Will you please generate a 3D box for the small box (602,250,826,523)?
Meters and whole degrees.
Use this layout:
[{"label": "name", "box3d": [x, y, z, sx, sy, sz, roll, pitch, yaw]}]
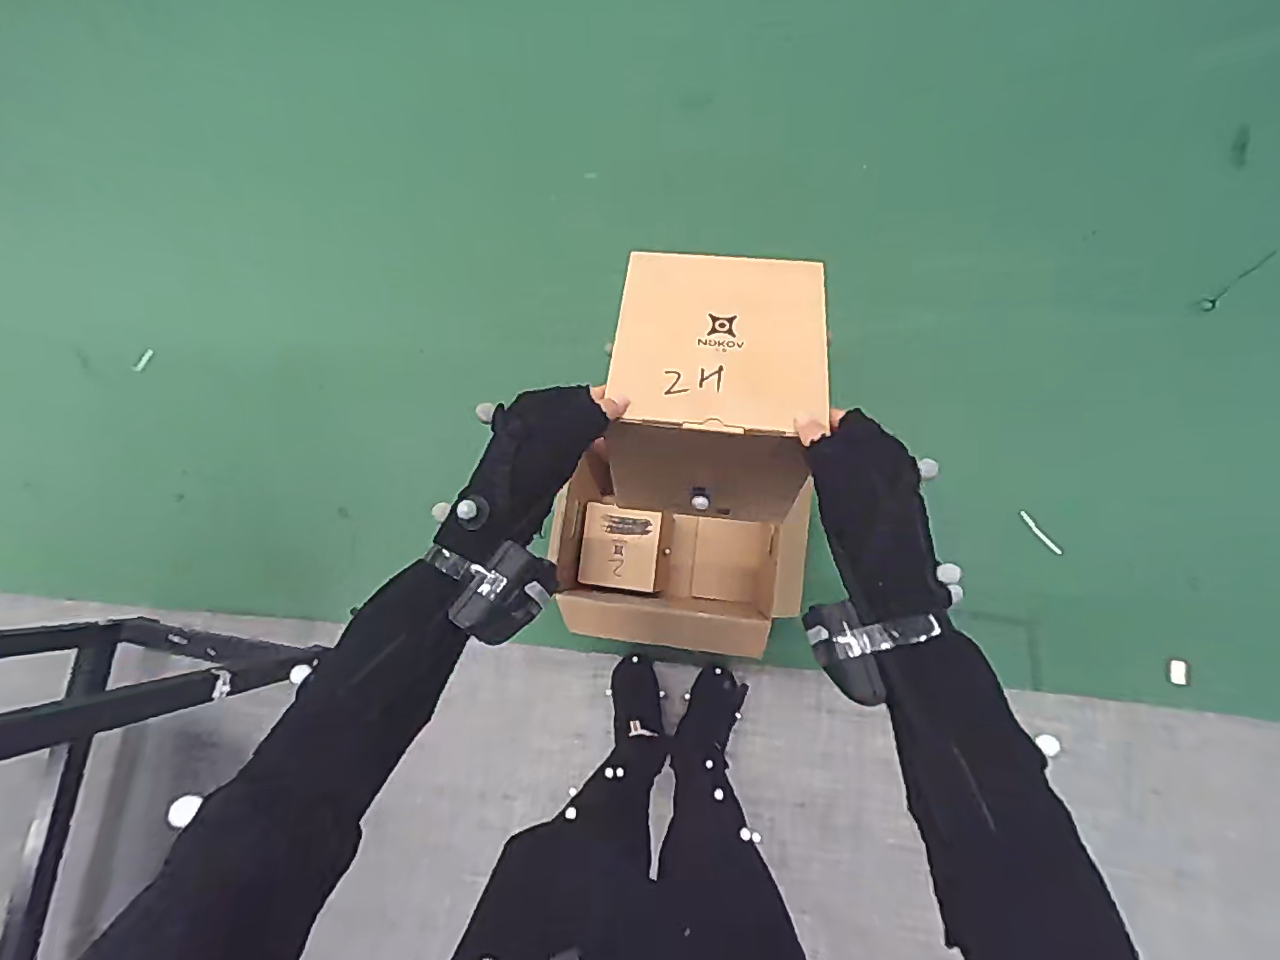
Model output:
[{"label": "small box", "box3d": [0.064, -0.079, 0.496, 0.168, 0.176, 0.179, 5, 64, 5]}]
